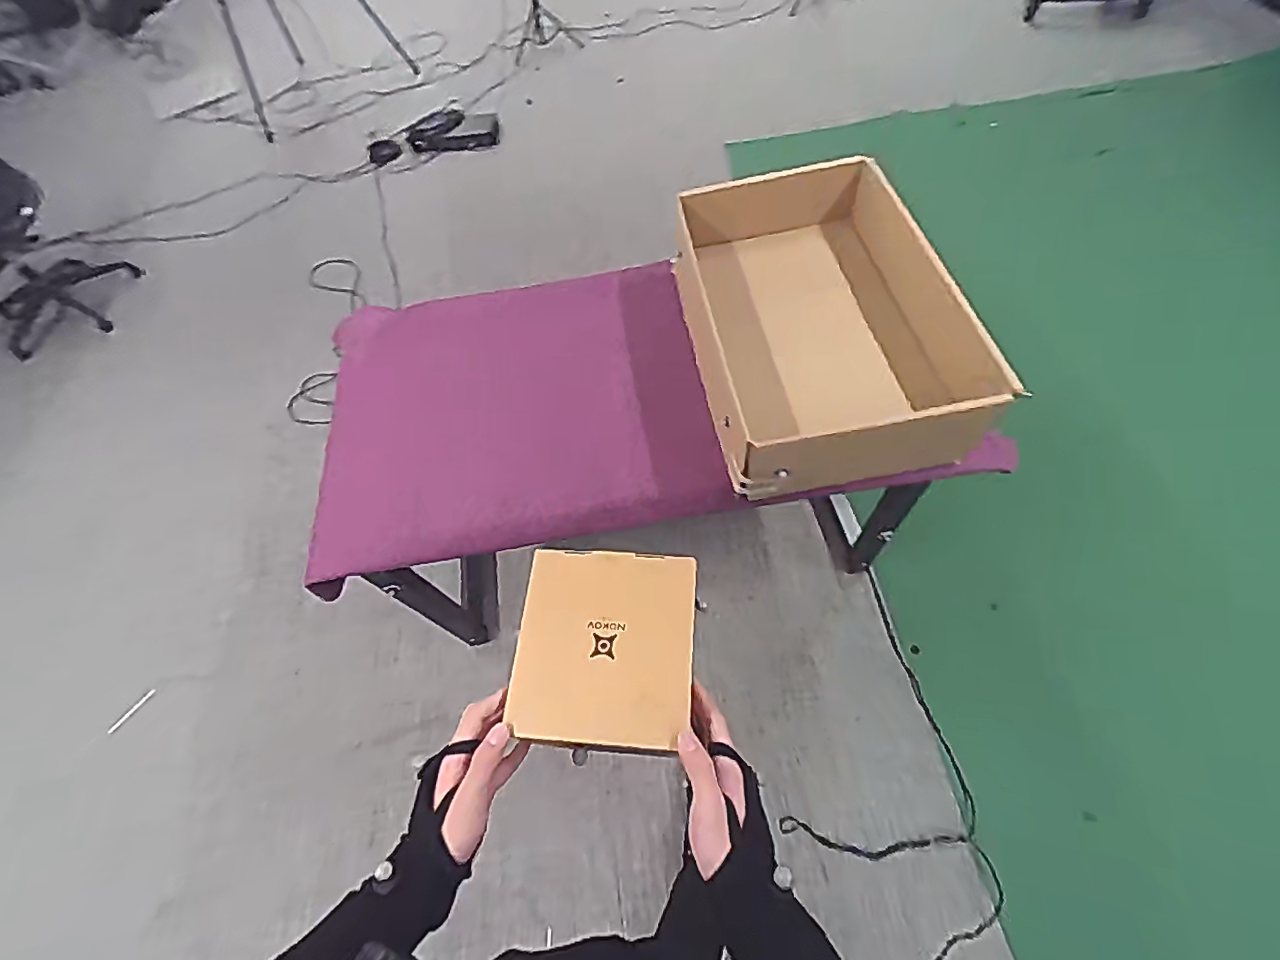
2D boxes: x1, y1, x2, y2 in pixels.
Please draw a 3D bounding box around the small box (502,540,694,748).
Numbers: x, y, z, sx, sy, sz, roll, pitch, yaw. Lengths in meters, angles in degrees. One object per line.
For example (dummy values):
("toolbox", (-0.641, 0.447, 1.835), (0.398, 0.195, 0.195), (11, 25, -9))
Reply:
("small box", (-0.028, 0.179, 0.572), (0.168, 0.176, 0.179), (2, 60, 6))
